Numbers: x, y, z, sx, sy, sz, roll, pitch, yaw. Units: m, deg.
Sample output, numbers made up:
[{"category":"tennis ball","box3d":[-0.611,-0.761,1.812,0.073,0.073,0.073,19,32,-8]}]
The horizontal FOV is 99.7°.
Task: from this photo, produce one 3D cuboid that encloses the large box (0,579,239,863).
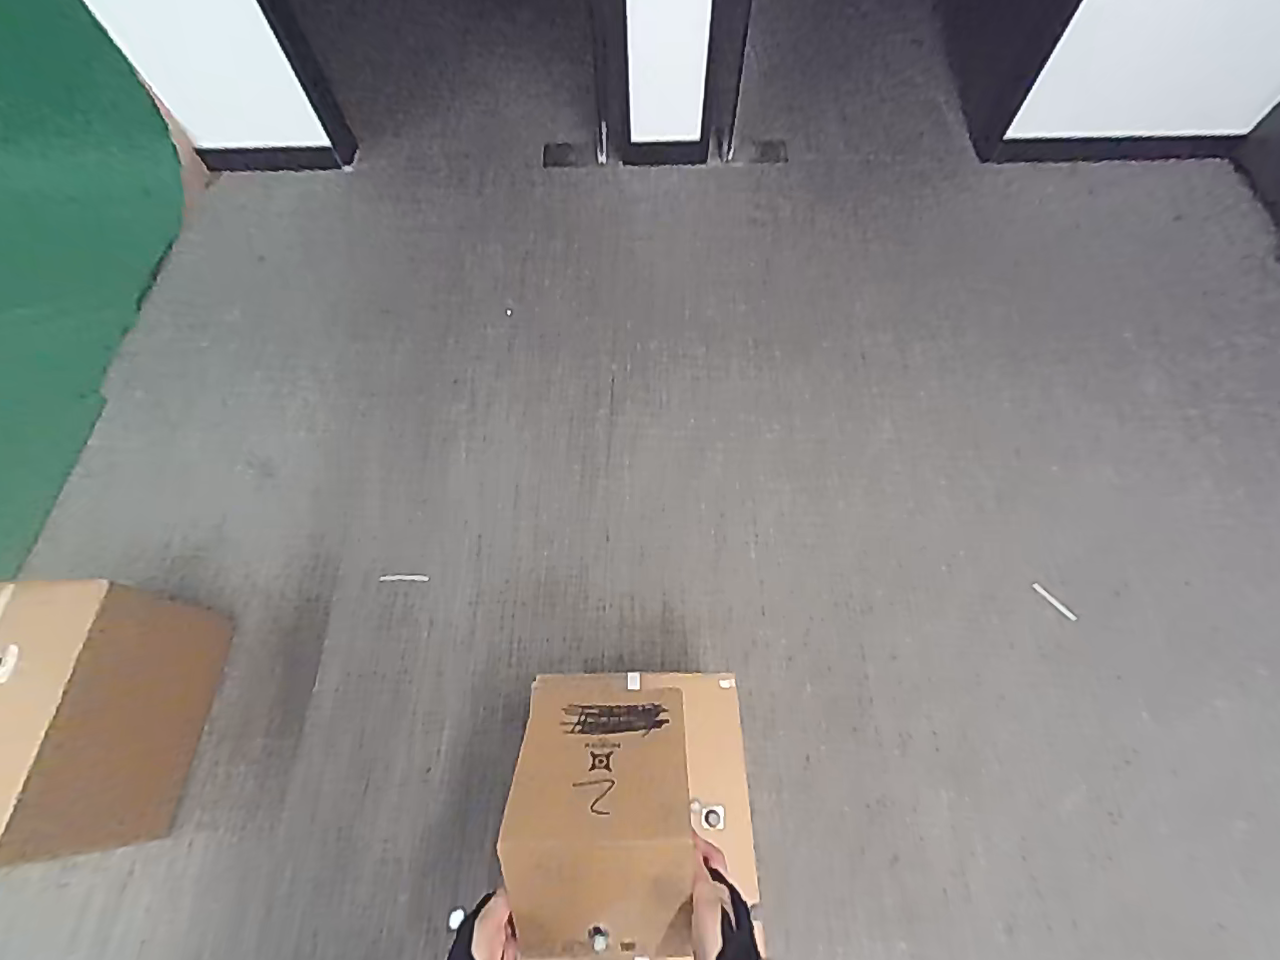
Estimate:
[{"category":"large box","box3d":[-1.012,0.418,0.952,0.320,0.320,0.408,-2,63,1]}]
